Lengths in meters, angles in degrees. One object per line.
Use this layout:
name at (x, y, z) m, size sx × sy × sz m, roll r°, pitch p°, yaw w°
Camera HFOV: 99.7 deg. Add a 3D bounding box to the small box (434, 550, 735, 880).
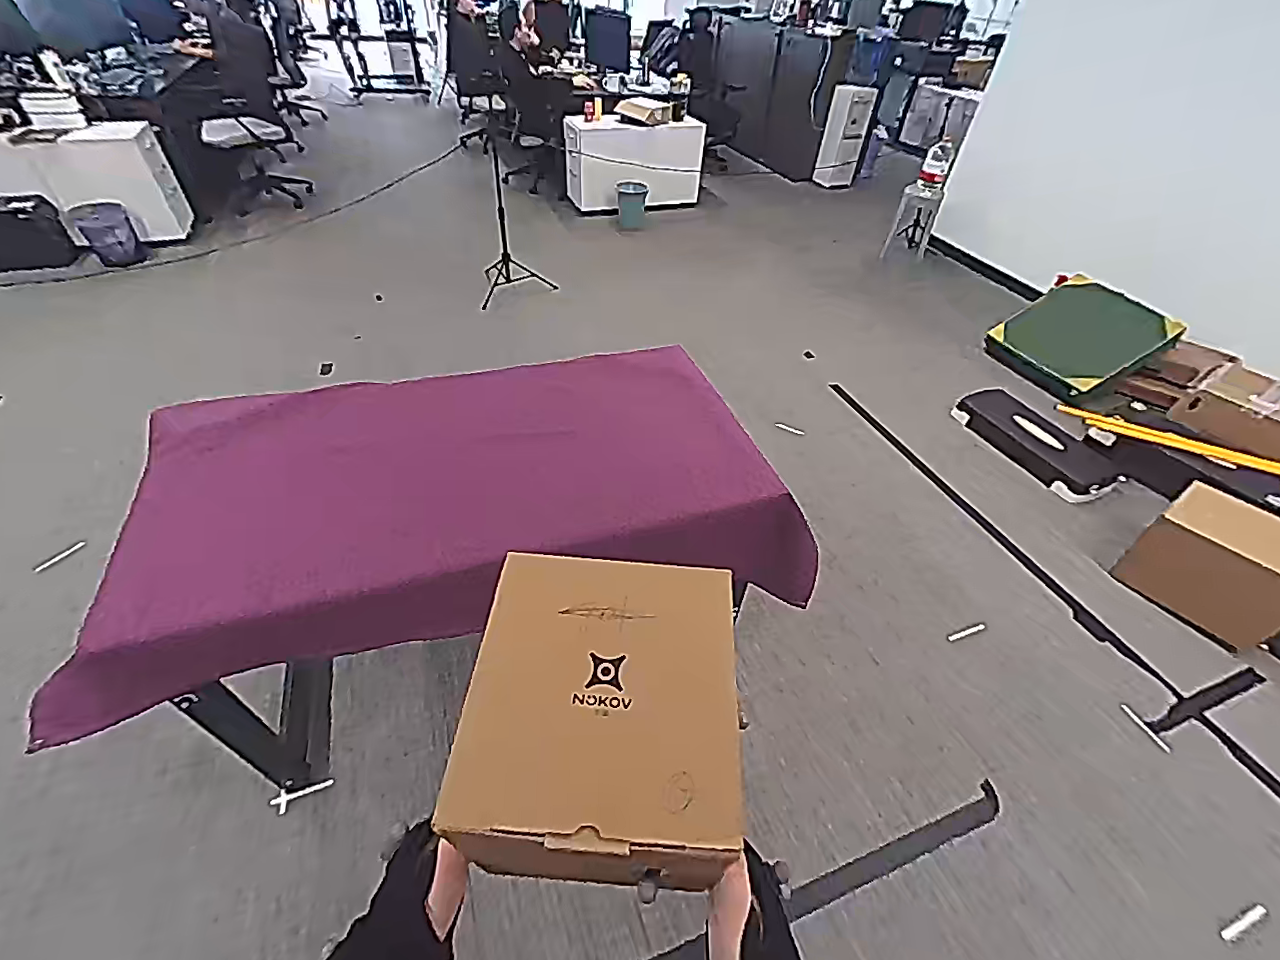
small box at (-0.026, 0.176, 0.399) m, size 0.168 × 0.176 × 0.179 m, roll 5°, pitch 48°, yaw 1°
